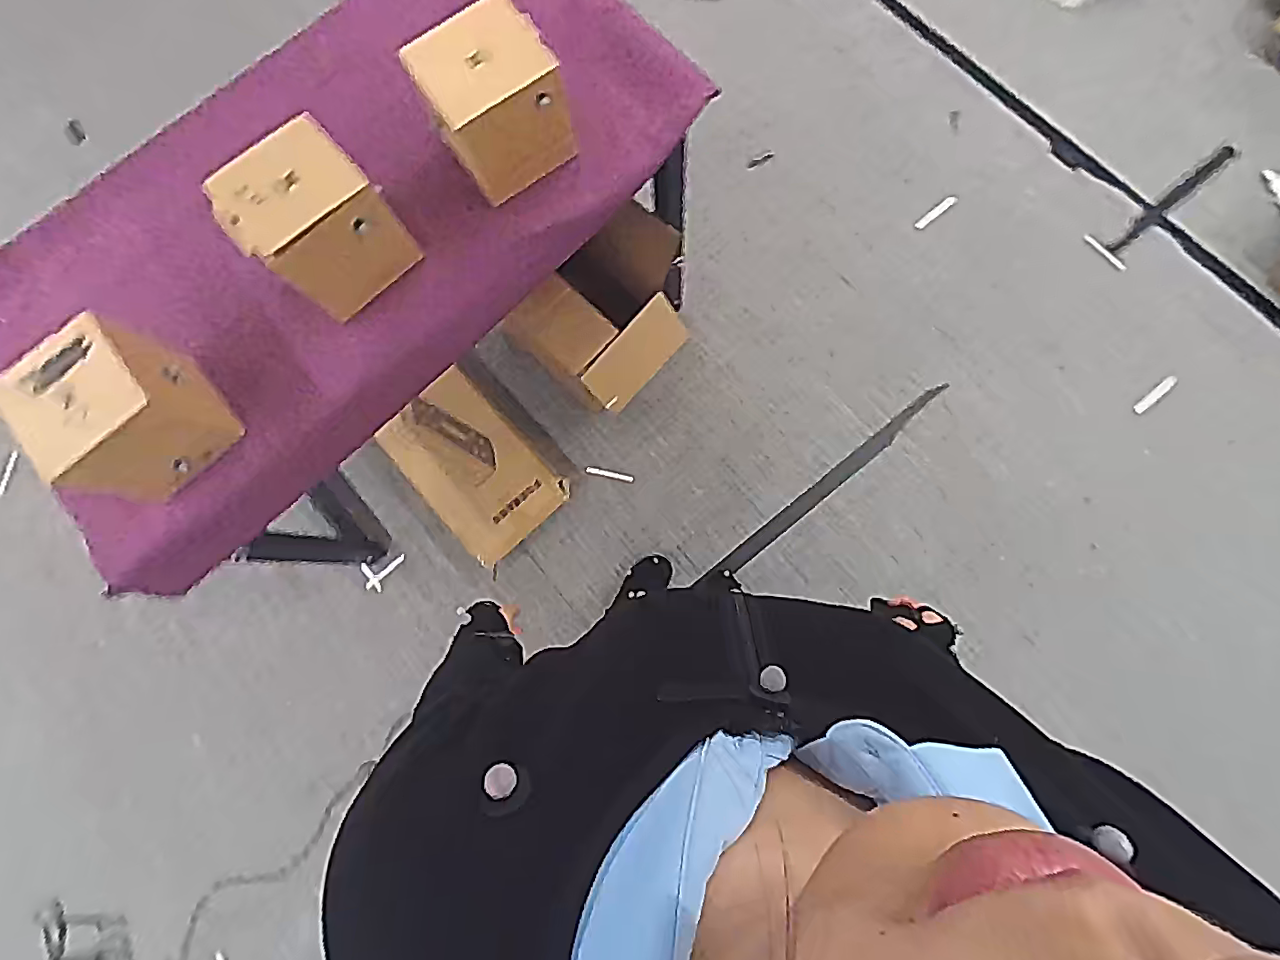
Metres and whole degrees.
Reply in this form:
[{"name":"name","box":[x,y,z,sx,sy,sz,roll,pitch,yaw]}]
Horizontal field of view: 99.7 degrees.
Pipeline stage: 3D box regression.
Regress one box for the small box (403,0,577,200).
[{"name":"small box","box":[-0.219,-0.581,0.837,0.179,0.176,0.168,-34,80,-3]}]

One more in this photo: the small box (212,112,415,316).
[{"name":"small box","box":[-0.472,-0.389,0.817,0.179,0.176,0.168,-42,78,-4]}]
